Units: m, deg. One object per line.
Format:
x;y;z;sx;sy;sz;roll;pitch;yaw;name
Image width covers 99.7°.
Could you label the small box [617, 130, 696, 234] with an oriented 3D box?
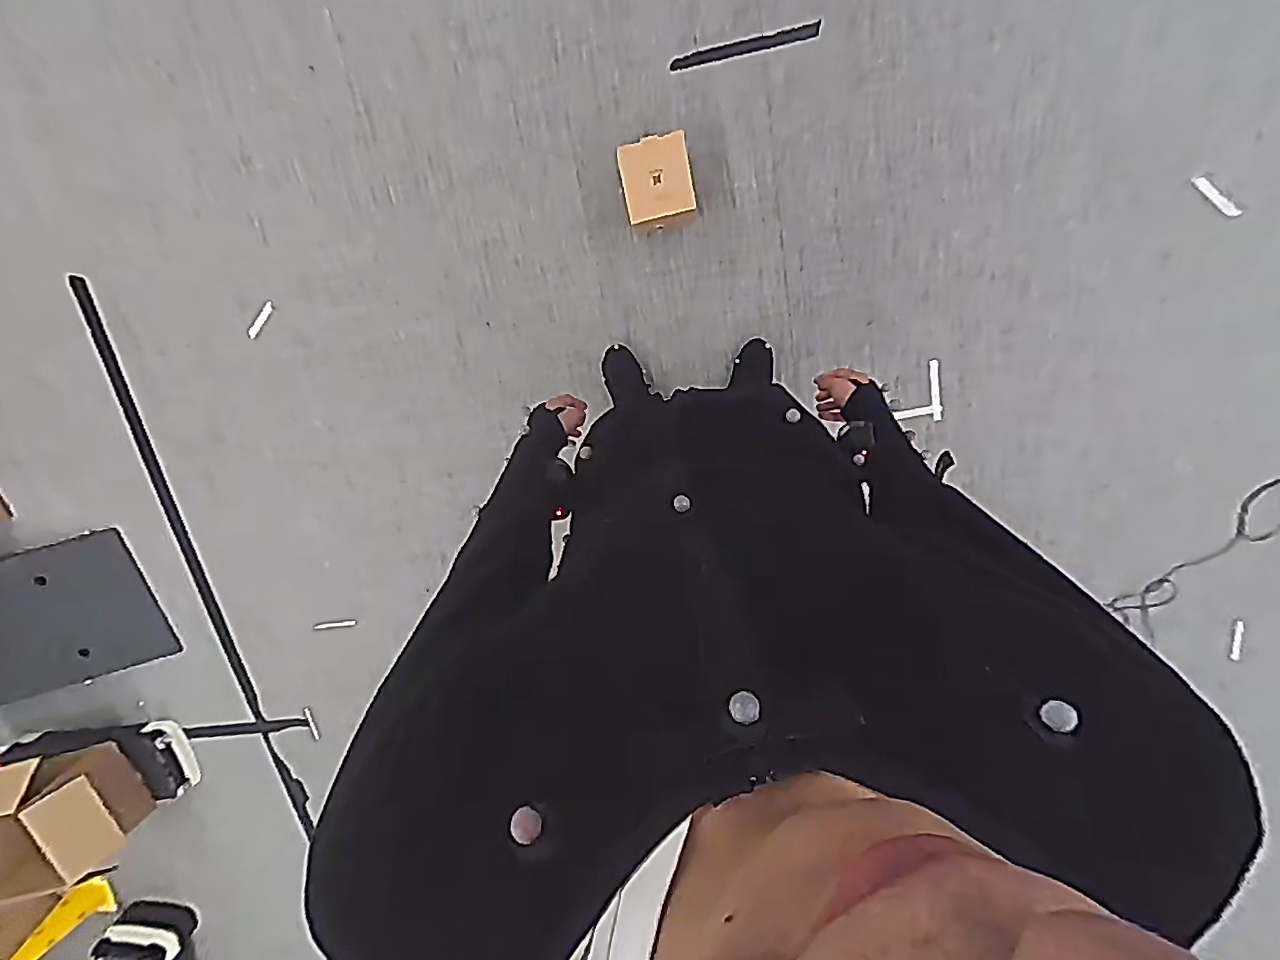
0.043;-0.743;1.366;0.168;0.176;0.179;-10;106;7;small box
